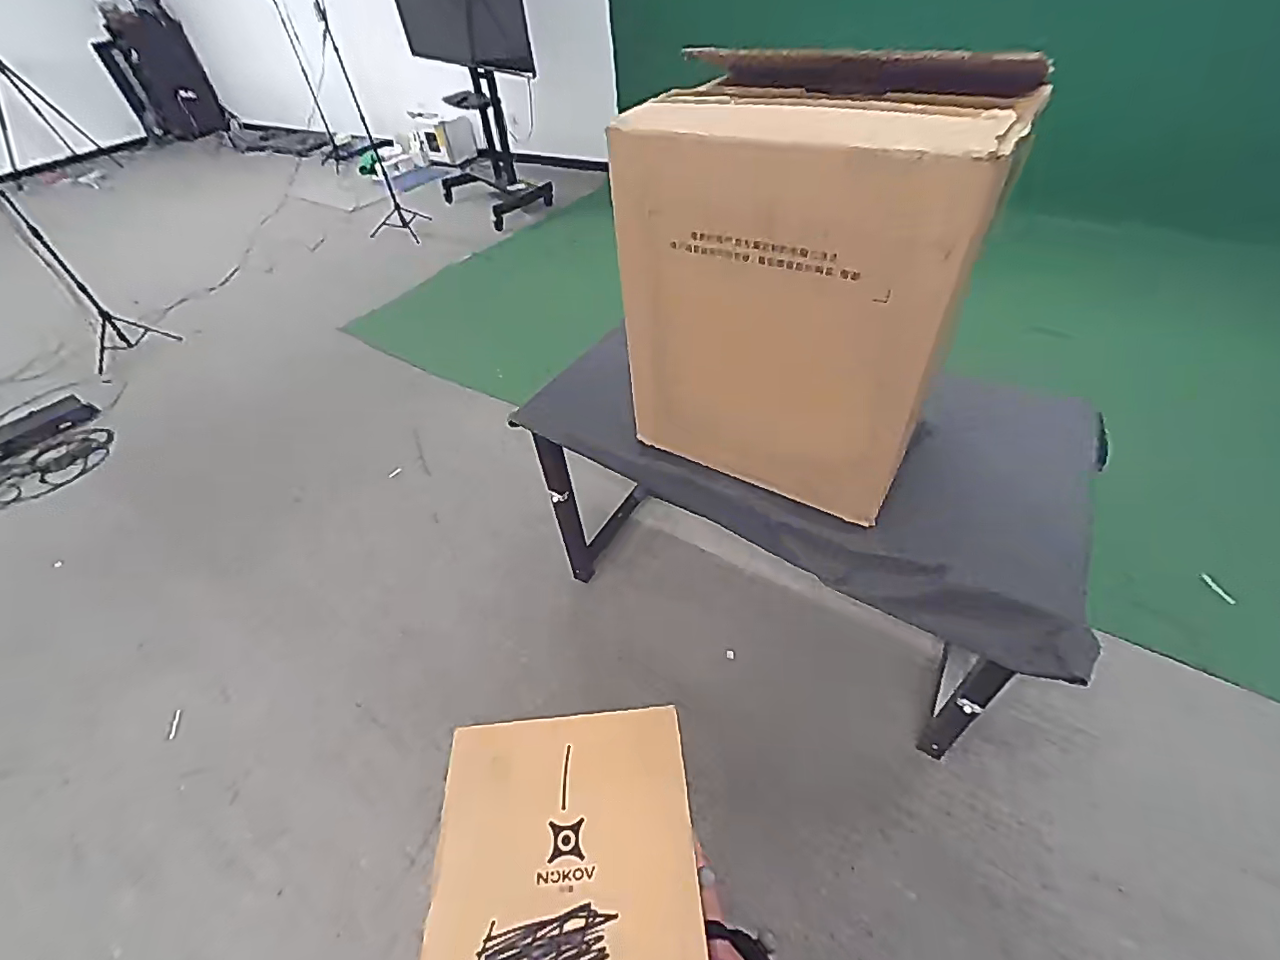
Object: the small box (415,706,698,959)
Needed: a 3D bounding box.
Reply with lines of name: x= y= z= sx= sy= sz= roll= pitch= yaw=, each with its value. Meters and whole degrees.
small box: x=-0.046 y=0.292 z=0.399 sx=0.168 sy=0.176 sz=0.179 roll=-4 pitch=45 yaw=-1
